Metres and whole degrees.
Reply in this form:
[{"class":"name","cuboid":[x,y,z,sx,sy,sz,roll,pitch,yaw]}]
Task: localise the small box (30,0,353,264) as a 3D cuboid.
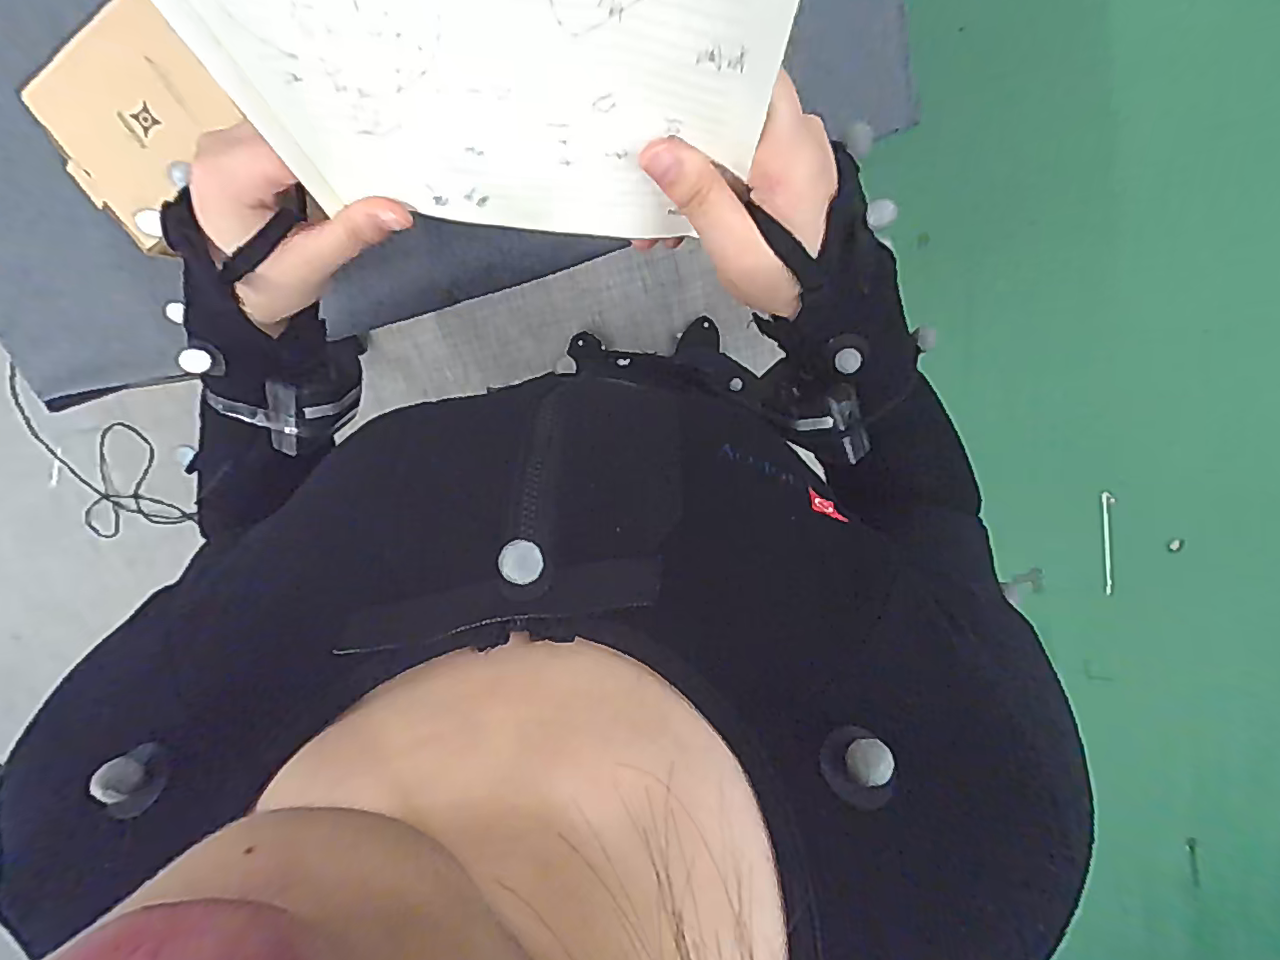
[{"class":"small box","cuboid":[-0.465,-0.360,0.593,0.179,0.176,0.168,-31,103,10]}]
